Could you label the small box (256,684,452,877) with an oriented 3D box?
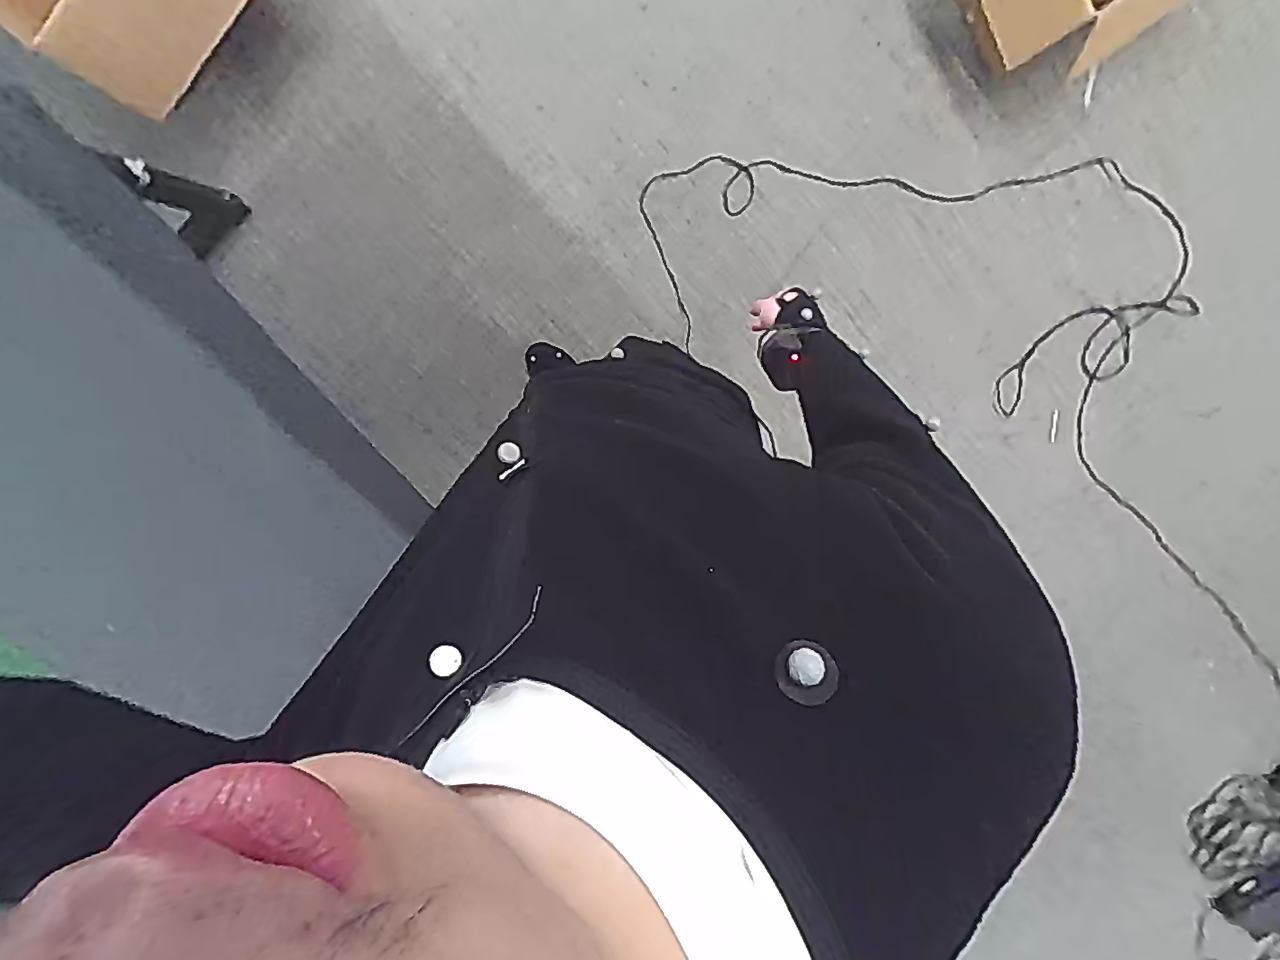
[{"bbox_3d":[-0.430,0.453,0.843,0.179,0.176,0.168,41,101,-12],"label":"small box"}]
